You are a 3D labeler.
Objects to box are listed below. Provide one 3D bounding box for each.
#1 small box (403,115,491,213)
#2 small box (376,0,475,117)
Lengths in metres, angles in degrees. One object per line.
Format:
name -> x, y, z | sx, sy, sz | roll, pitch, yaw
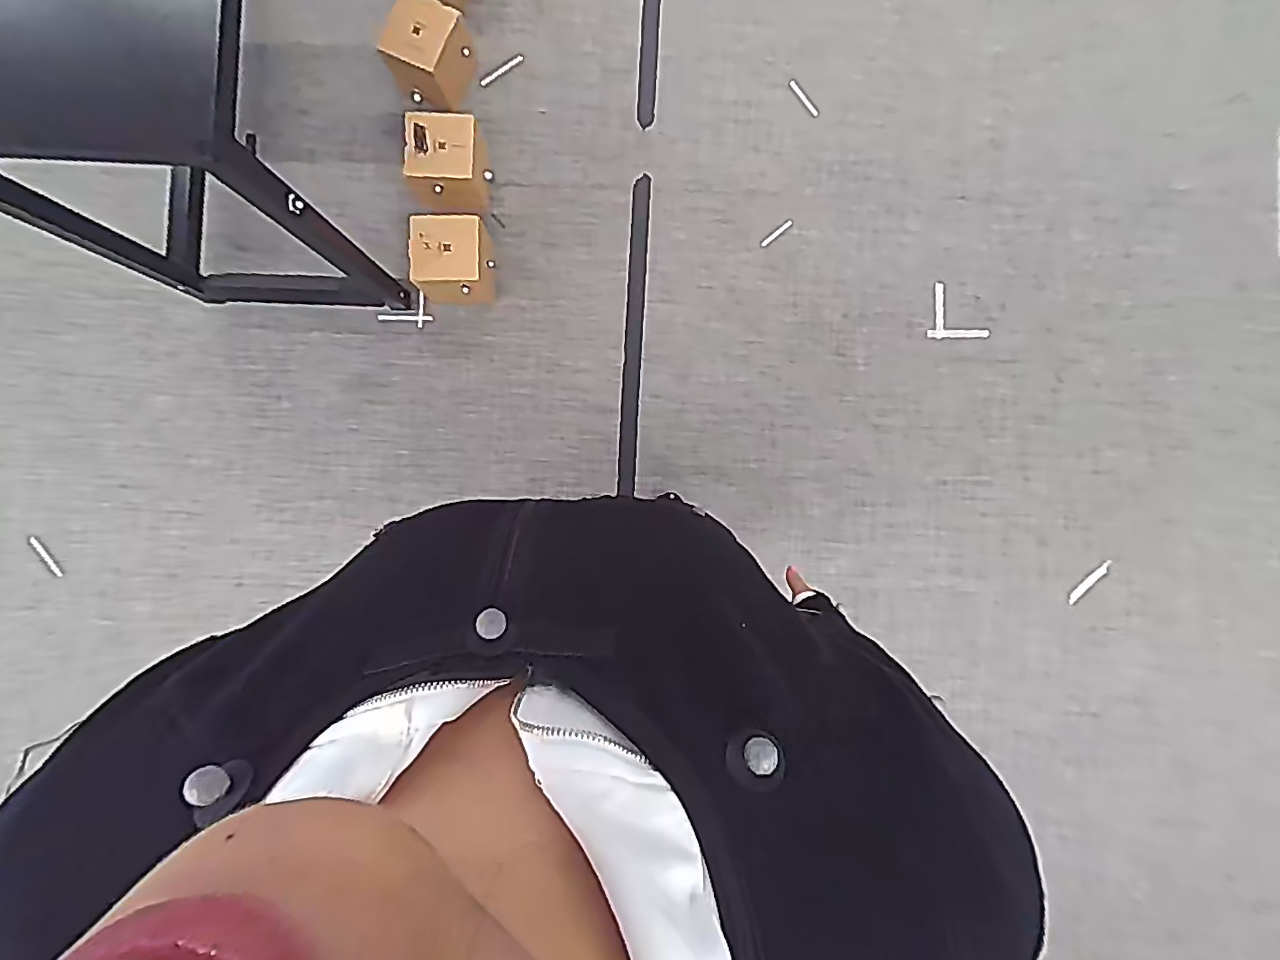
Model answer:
small box -> -0.510, -0.838, 1.446 | 0.179, 0.176, 0.168 | 1, 89, -2
small box -> -0.564, -1.134, 1.452 | 0.168, 0.176, 0.179 | 23, 90, 1
